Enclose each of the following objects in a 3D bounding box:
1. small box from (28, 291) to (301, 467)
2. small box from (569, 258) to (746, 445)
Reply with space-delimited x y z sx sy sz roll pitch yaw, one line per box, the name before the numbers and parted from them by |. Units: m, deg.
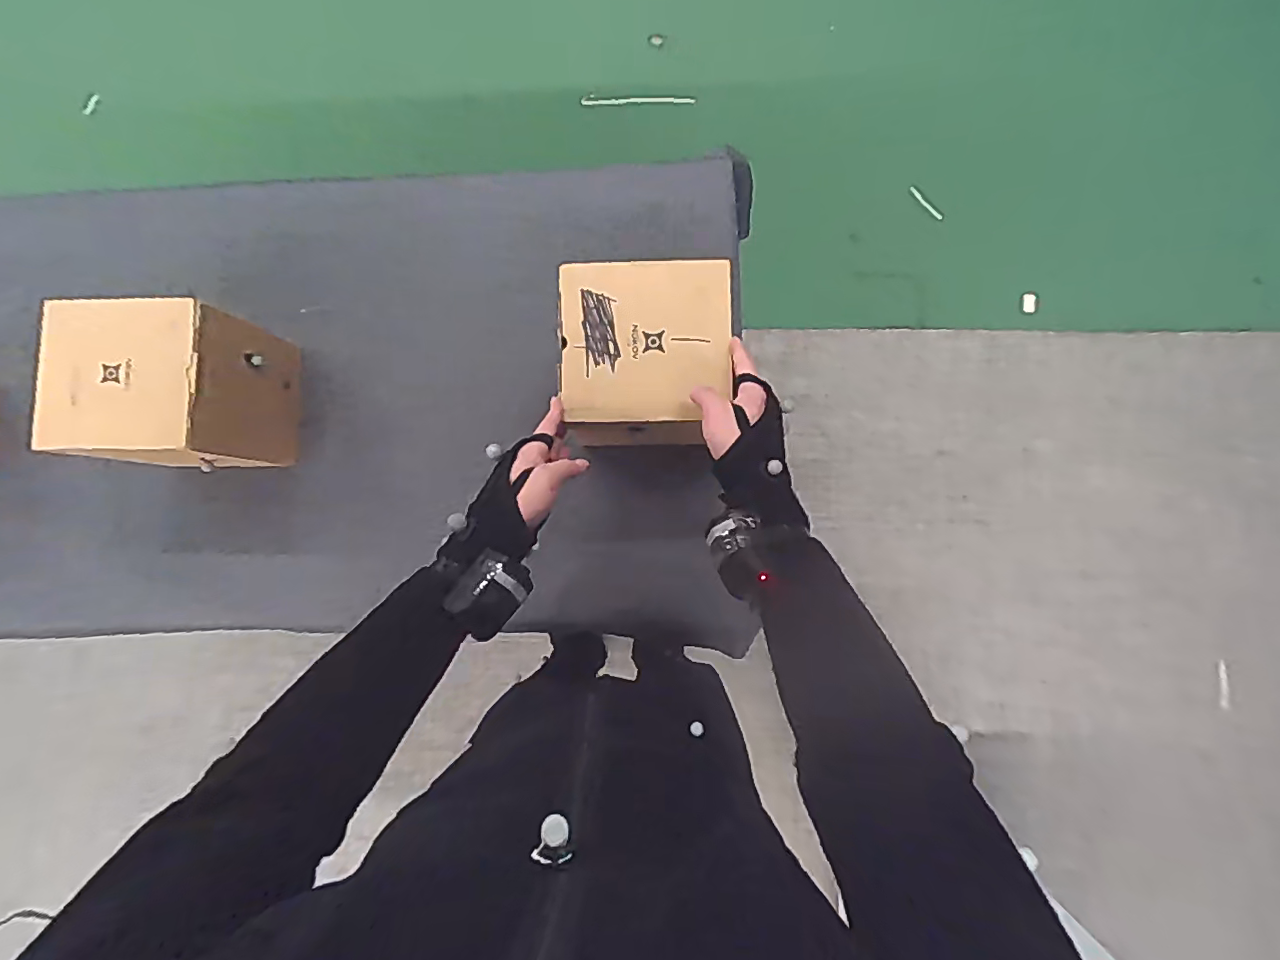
small box | -0.538 -0.109 0.639 0.179 0.176 0.168 0 83 3
small box | 0.019 -0.133 0.615 0.179 0.176 0.168 1 85 0
